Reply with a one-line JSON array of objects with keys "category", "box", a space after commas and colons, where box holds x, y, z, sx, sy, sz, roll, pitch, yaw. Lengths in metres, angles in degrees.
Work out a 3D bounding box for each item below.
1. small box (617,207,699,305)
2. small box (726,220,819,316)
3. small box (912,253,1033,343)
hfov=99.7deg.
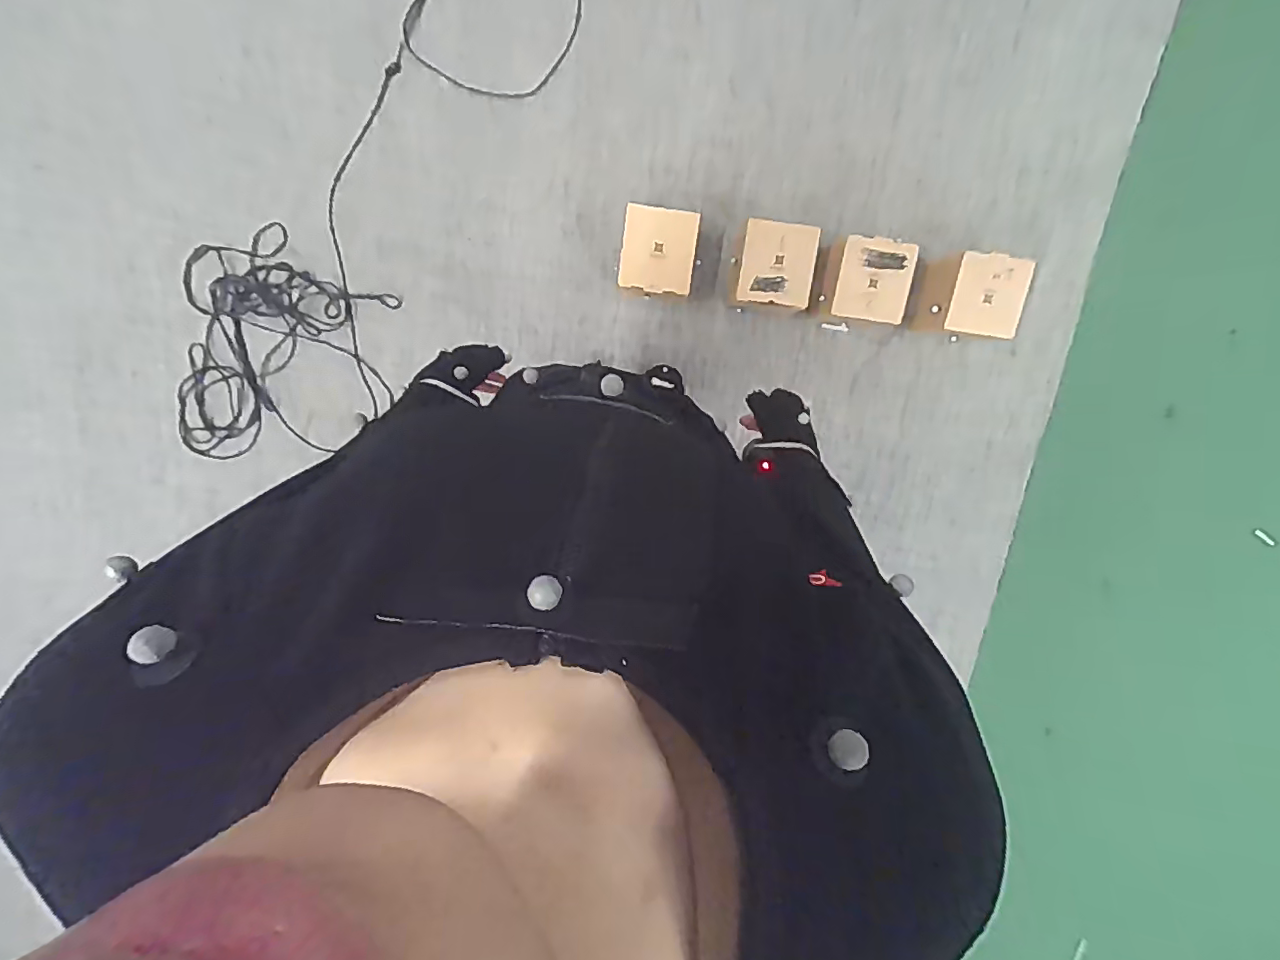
[{"category": "small box", "box": [0.040, -0.521, 1.281, 0.168, 0.176, 0.179, 8, 103, 0]}, {"category": "small box", "box": [0.304, -0.492, 1.280, 0.168, 0.176, 0.179, 8, 102, 0]}, {"category": "small box", "box": [0.780, -0.426, 1.291, 0.168, 0.176, 0.179, 8, 103, -2]}]
